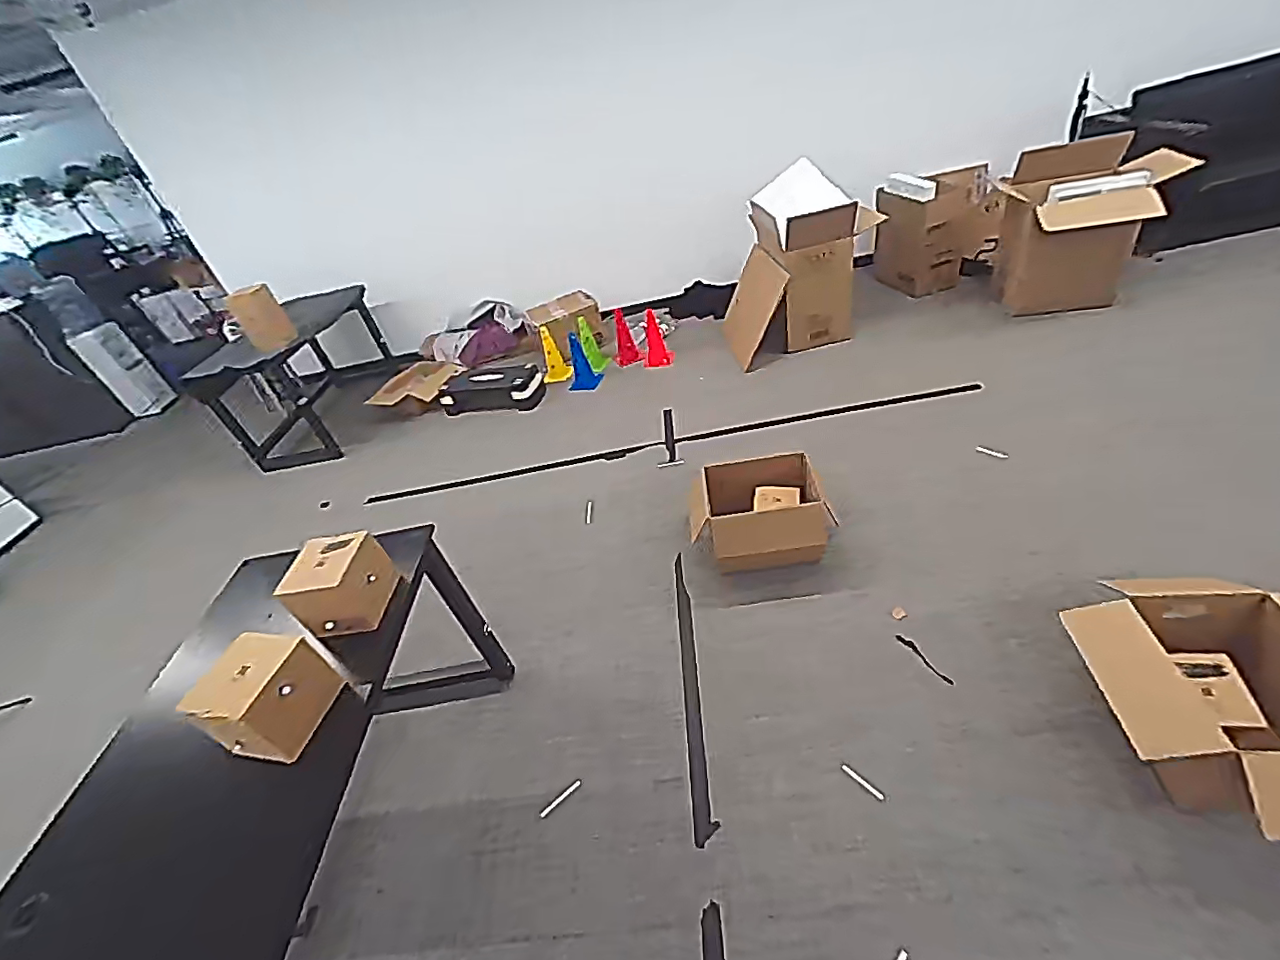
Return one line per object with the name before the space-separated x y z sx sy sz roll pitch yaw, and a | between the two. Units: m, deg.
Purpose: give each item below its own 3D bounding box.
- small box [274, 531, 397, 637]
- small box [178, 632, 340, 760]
small box | -0.715 0.249 1.299 0.168 0.176 0.179 -10 39 8
small box | -0.745 0.431 1.087 0.168 0.176 0.179 -3 40 17
